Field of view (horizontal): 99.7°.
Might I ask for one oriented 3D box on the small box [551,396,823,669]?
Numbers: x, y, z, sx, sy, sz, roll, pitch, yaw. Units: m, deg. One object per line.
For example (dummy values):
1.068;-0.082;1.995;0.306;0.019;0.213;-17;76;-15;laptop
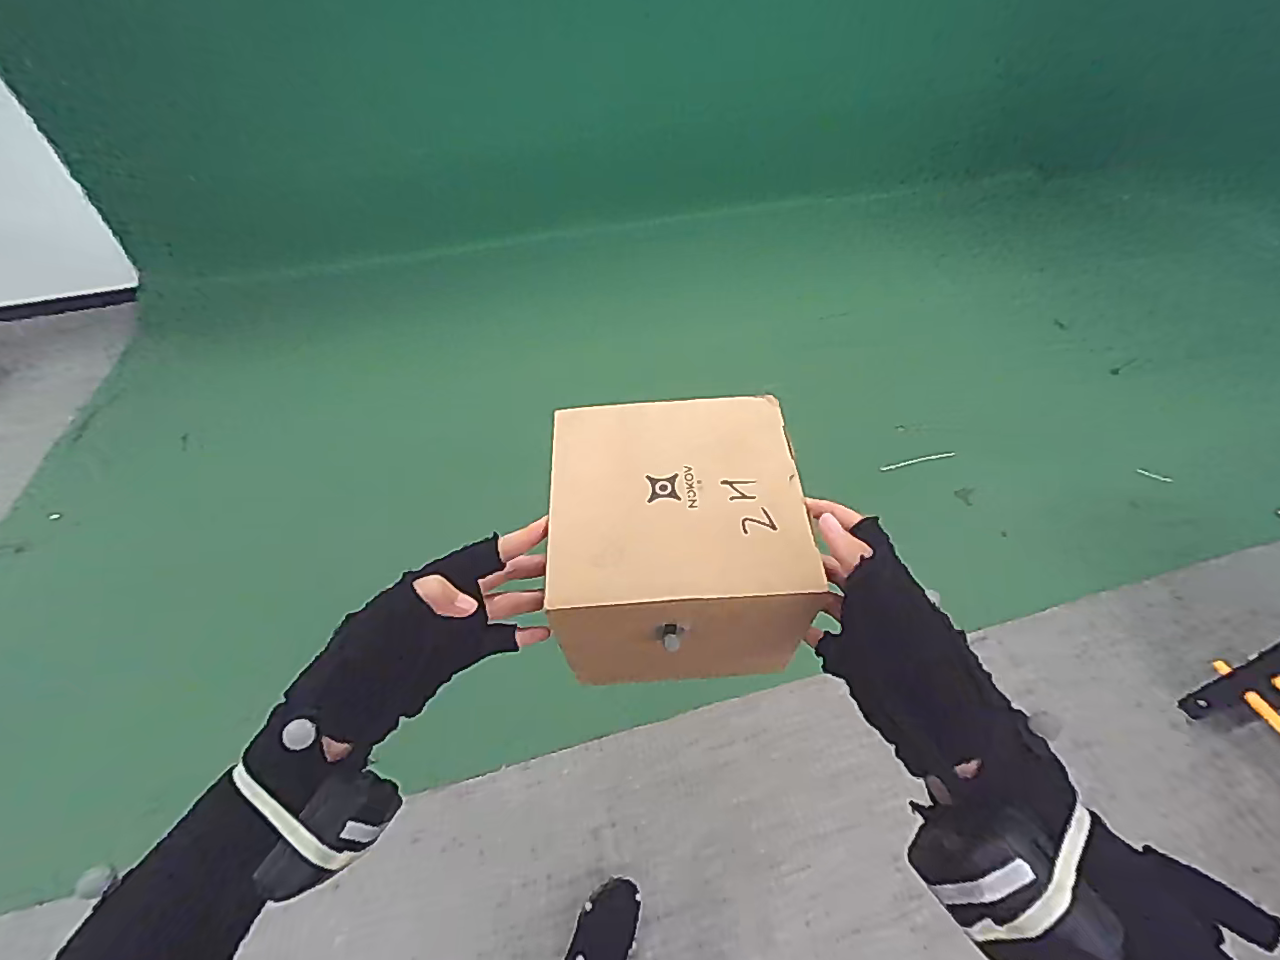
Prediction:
0.030;0.051;0.449;0.179;0.176;0.168;-3;55;0;small box
